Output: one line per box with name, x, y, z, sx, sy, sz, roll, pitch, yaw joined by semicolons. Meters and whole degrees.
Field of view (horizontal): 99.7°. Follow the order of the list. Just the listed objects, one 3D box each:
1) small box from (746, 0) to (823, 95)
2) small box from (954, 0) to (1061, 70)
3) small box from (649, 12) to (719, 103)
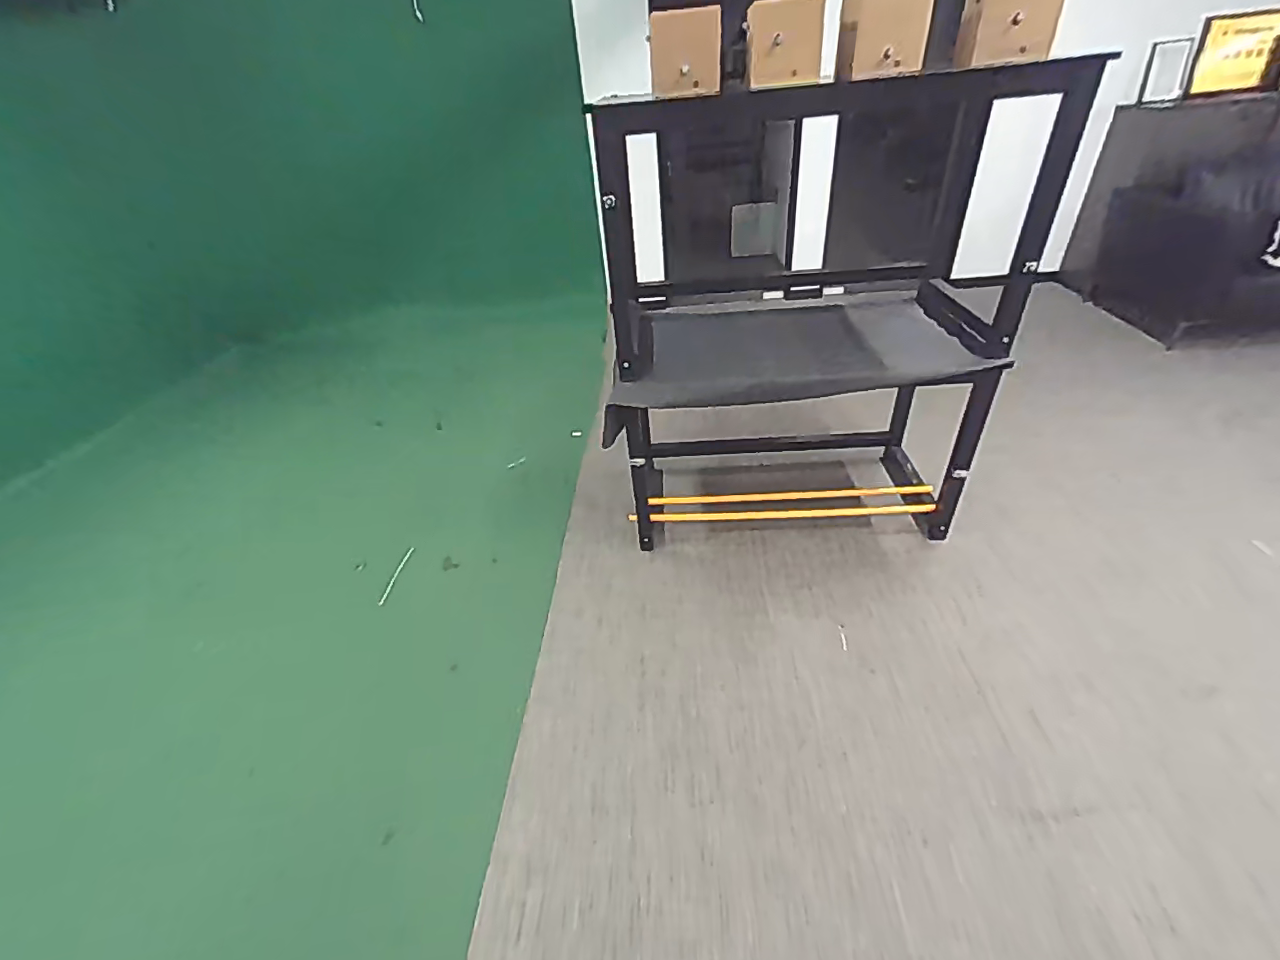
small box;0.354;-1.074;1.349;0.168;0.176;0.179;-2;36;7
small box;0.864;-1.083;1.273;0.168;0.176;0.179;3;37;13
small box;0.111;-1.077;1.387;0.168;0.176;0.179;-5;37;2
